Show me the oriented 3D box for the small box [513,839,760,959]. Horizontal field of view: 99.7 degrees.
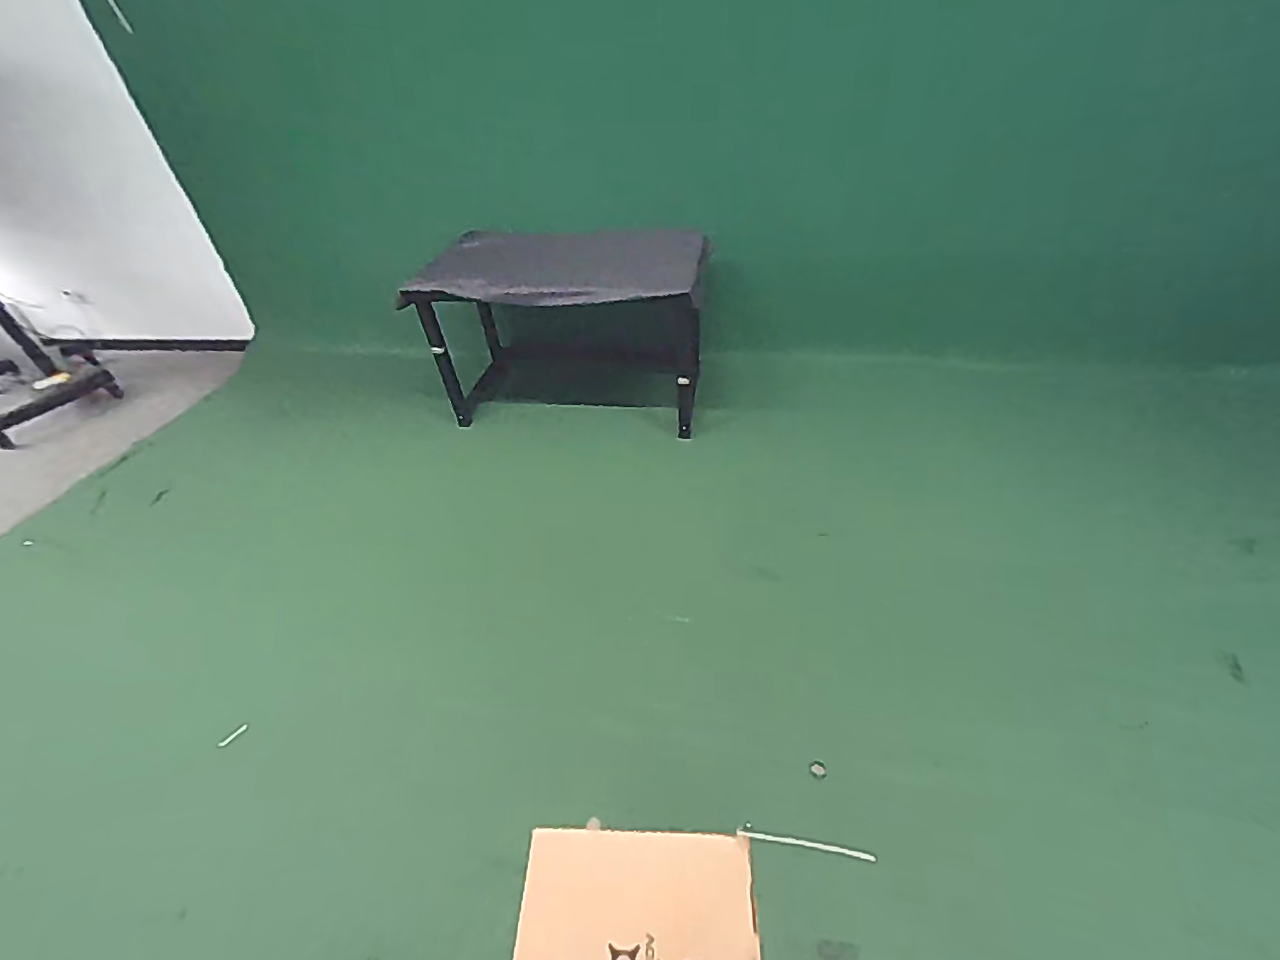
[{"bbox_3d":[-0.002,0.401,0.423,0.179,0.176,0.168,1,45,3],"label":"small box"}]
